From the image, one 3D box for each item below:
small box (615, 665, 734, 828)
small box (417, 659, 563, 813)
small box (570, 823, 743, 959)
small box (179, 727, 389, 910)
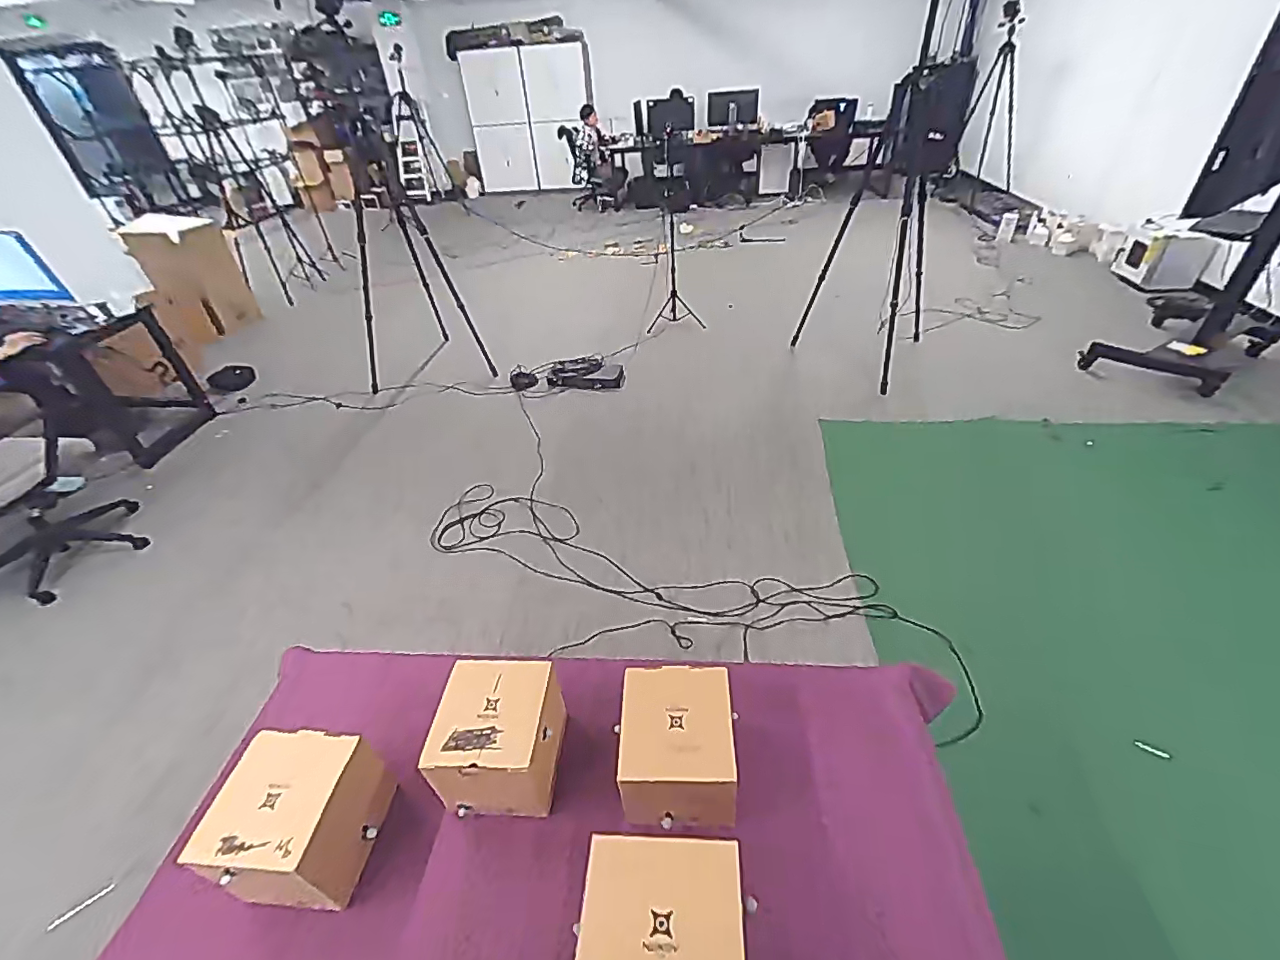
[{"bbox_3d":[0.057,0.415,0.849,0.168,0.176,0.179,-2,39,5],"label":"small box"},{"bbox_3d":[-0.227,0.414,0.877,0.168,0.176,0.179,0,37,5],"label":"small box"},{"bbox_3d":[0.024,0.504,0.578,0.168,0.176,0.179,-2,35,8],"label":"small box"},{"bbox_3d":[-0.500,0.495,0.799,0.168,0.176,0.179,-1,38,7],"label":"small box"}]
